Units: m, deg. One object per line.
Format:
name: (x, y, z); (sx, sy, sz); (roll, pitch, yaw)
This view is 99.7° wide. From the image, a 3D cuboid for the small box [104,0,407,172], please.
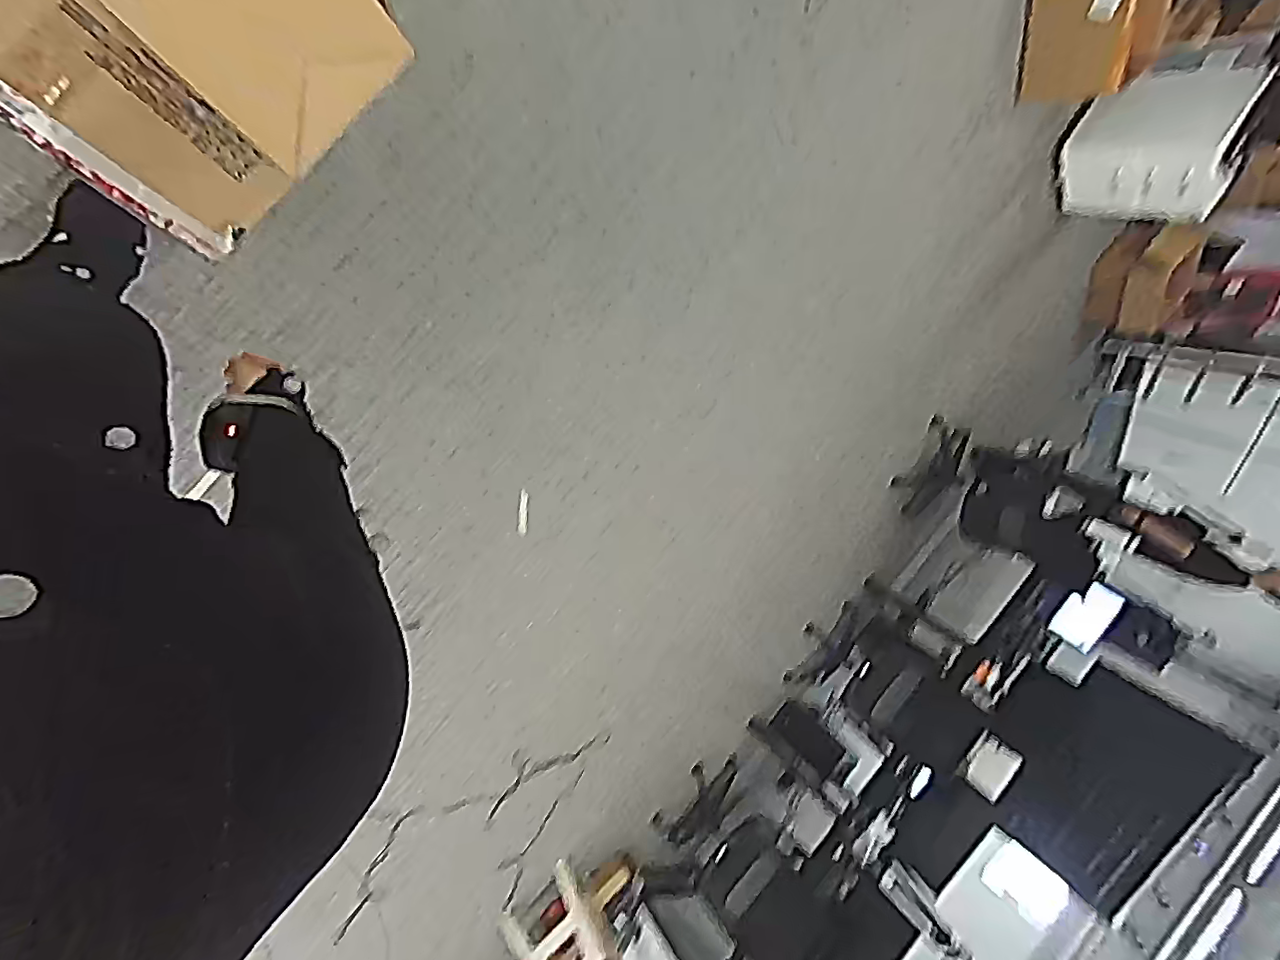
small box: (-0.364, -0.428, 0.522); (0.179, 0.176, 0.168); (-48, 138, -3)
